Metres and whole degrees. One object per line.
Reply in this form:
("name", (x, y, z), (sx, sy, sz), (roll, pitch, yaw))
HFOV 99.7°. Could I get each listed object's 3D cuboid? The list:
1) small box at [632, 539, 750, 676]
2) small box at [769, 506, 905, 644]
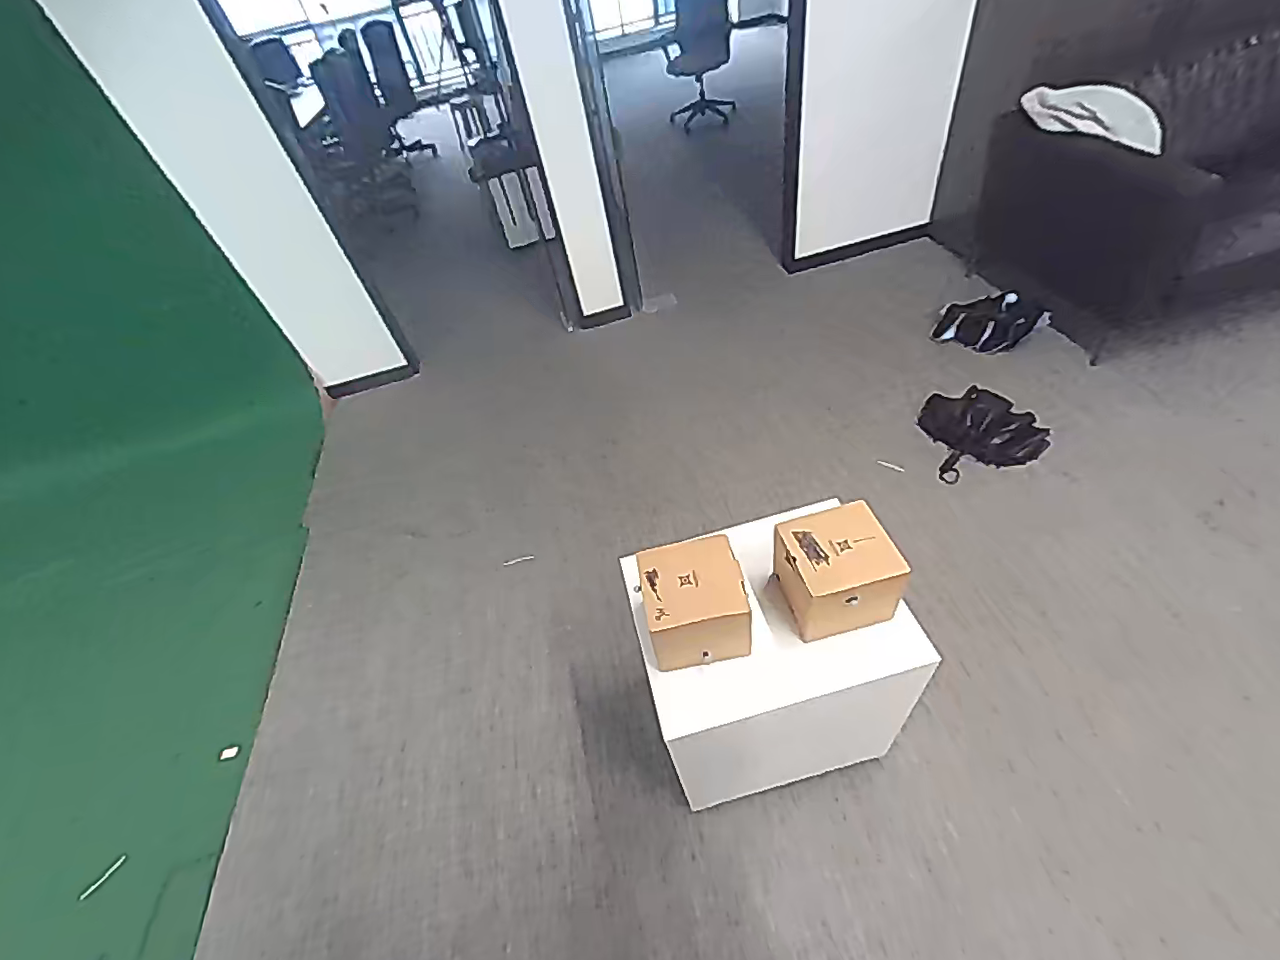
("small box", (0.088, 0.233, 0.981), (0.179, 0.176, 0.168), (-10, 45, -3))
("small box", (0.348, 0.178, 0.993), (0.179, 0.176, 0.168), (-14, 46, -5))
